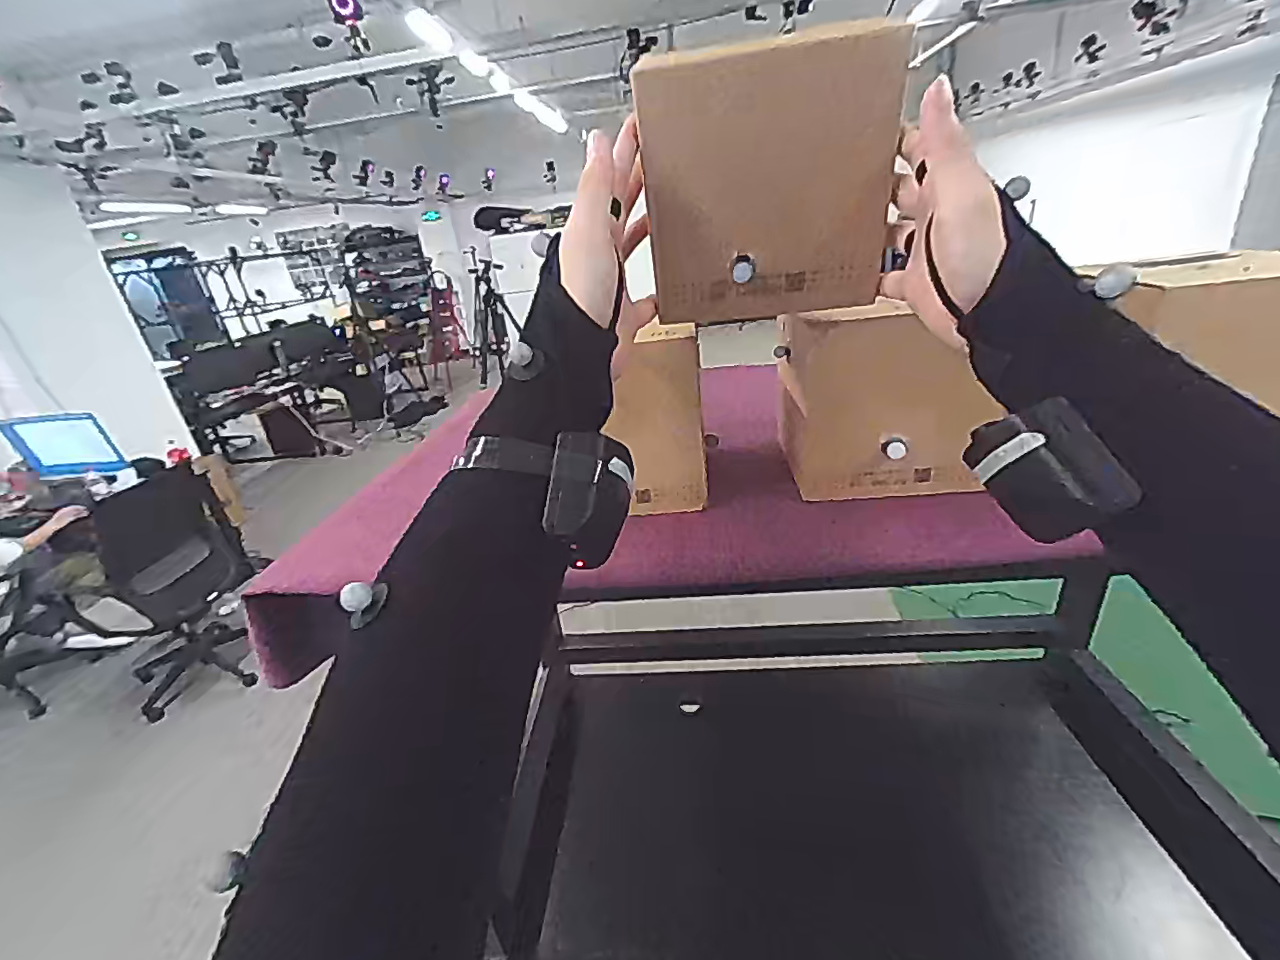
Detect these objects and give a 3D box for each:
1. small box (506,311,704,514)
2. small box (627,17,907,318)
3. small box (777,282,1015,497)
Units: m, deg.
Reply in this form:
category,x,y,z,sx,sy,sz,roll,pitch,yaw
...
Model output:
category,x,y,z,sx,sy,sz,roll,pitch,yaw
small box,-0.022,-0.077,0.566,0.168,0.176,0.179,-5,23,7
small box,0.087,-0.244,0.431,0.168,0.176,0.179,-4,39,7
small box,0.229,-0.095,0.539,0.168,0.176,0.179,-4,24,8
